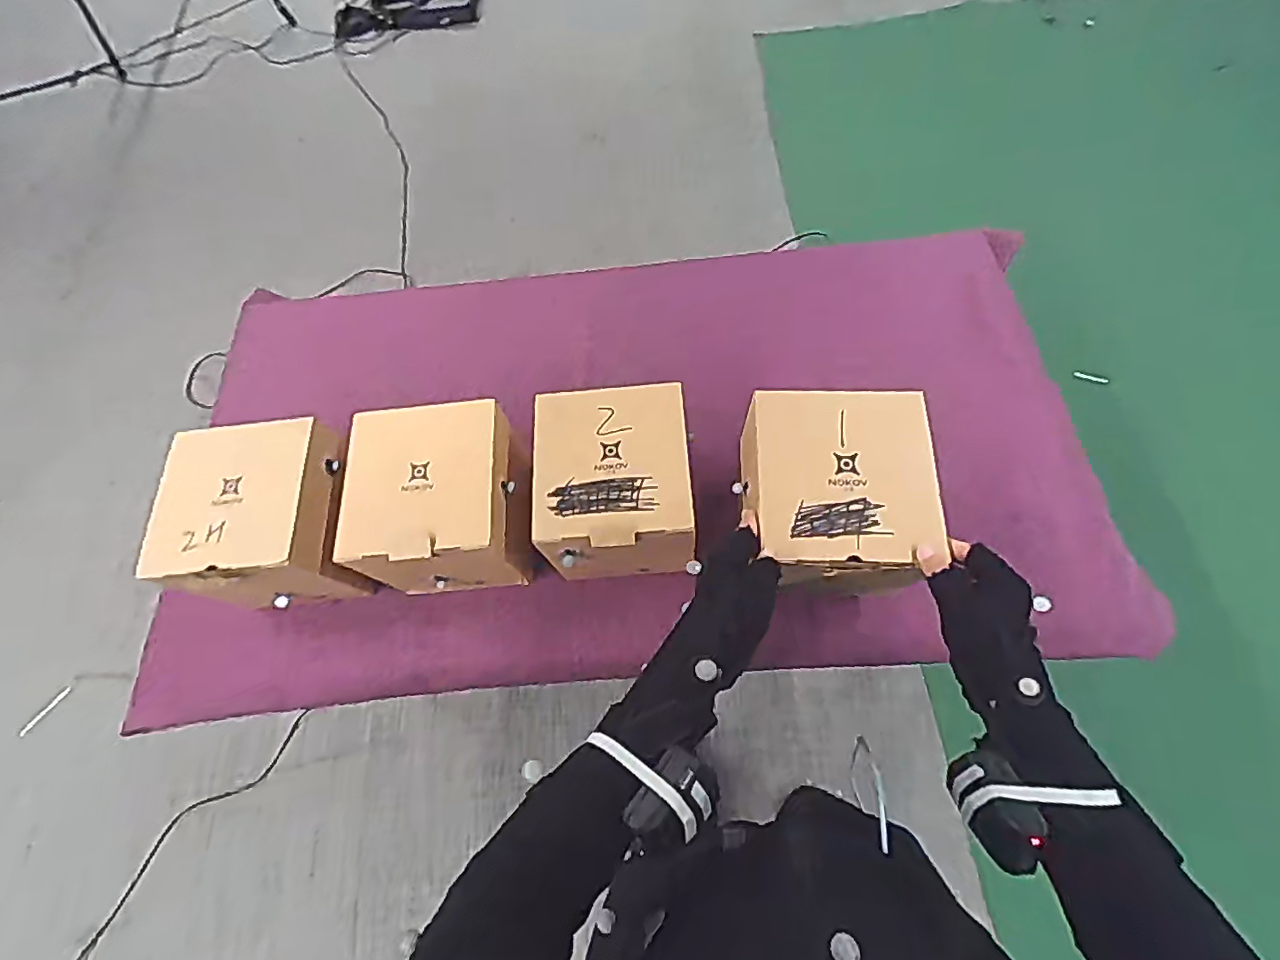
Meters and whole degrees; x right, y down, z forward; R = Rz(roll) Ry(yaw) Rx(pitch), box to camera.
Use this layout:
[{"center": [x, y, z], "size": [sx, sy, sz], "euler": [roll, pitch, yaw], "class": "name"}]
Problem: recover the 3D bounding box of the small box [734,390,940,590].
[{"center": [0.194, 0.020, 0.585], "size": [0.168, 0.176, 0.179], "euler": [1, 69, 4], "class": "small box"}]
